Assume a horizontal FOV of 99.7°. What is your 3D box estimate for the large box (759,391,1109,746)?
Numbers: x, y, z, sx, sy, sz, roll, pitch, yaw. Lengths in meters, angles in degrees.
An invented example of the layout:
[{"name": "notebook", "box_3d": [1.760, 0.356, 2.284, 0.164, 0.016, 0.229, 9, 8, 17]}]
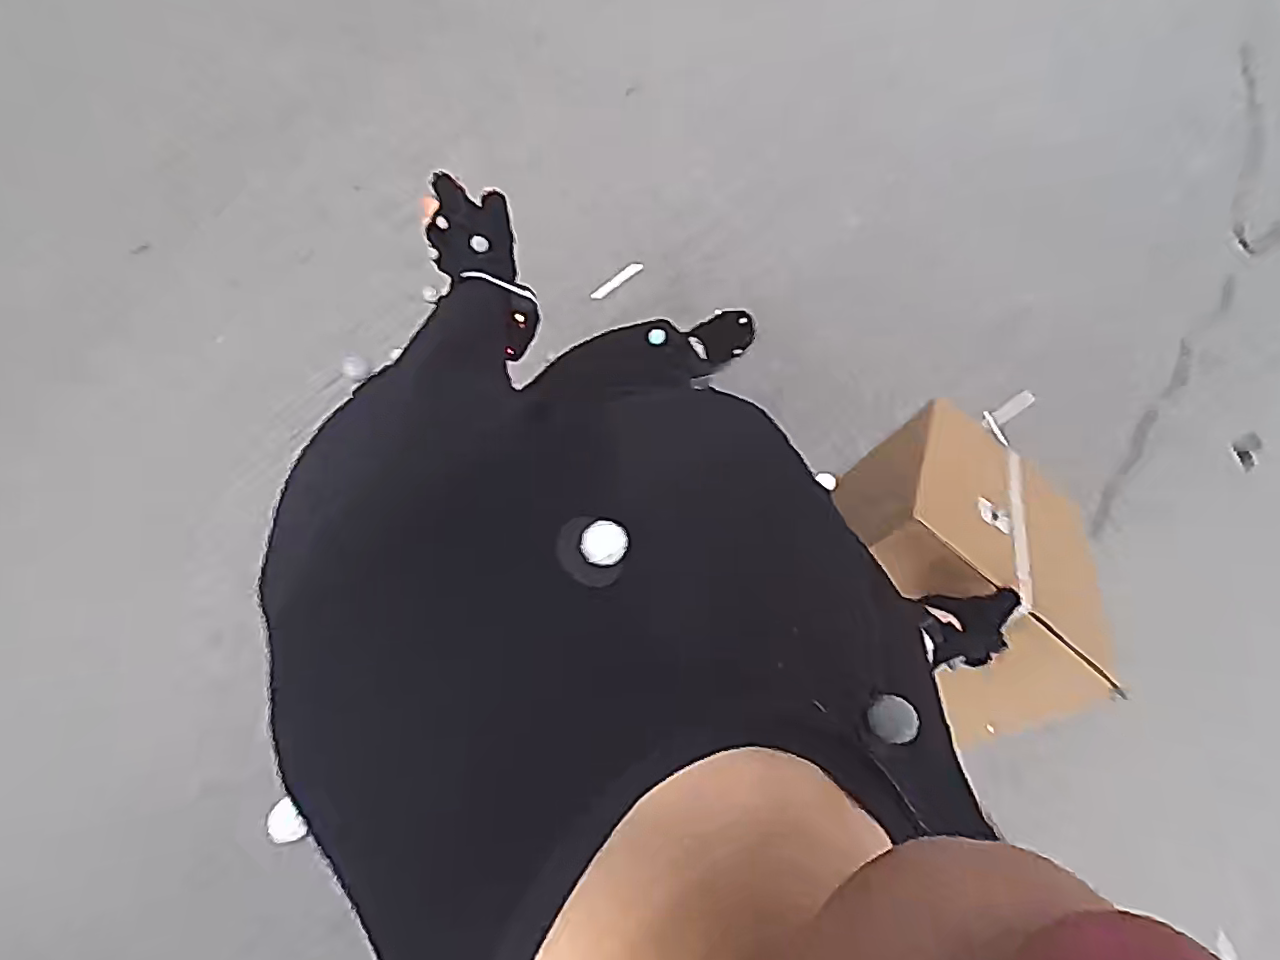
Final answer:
[{"name": "large box", "box_3d": [0.452, 0.130, 0.871, 0.320, 0.408, 0.320, 40, 135, 5]}]
